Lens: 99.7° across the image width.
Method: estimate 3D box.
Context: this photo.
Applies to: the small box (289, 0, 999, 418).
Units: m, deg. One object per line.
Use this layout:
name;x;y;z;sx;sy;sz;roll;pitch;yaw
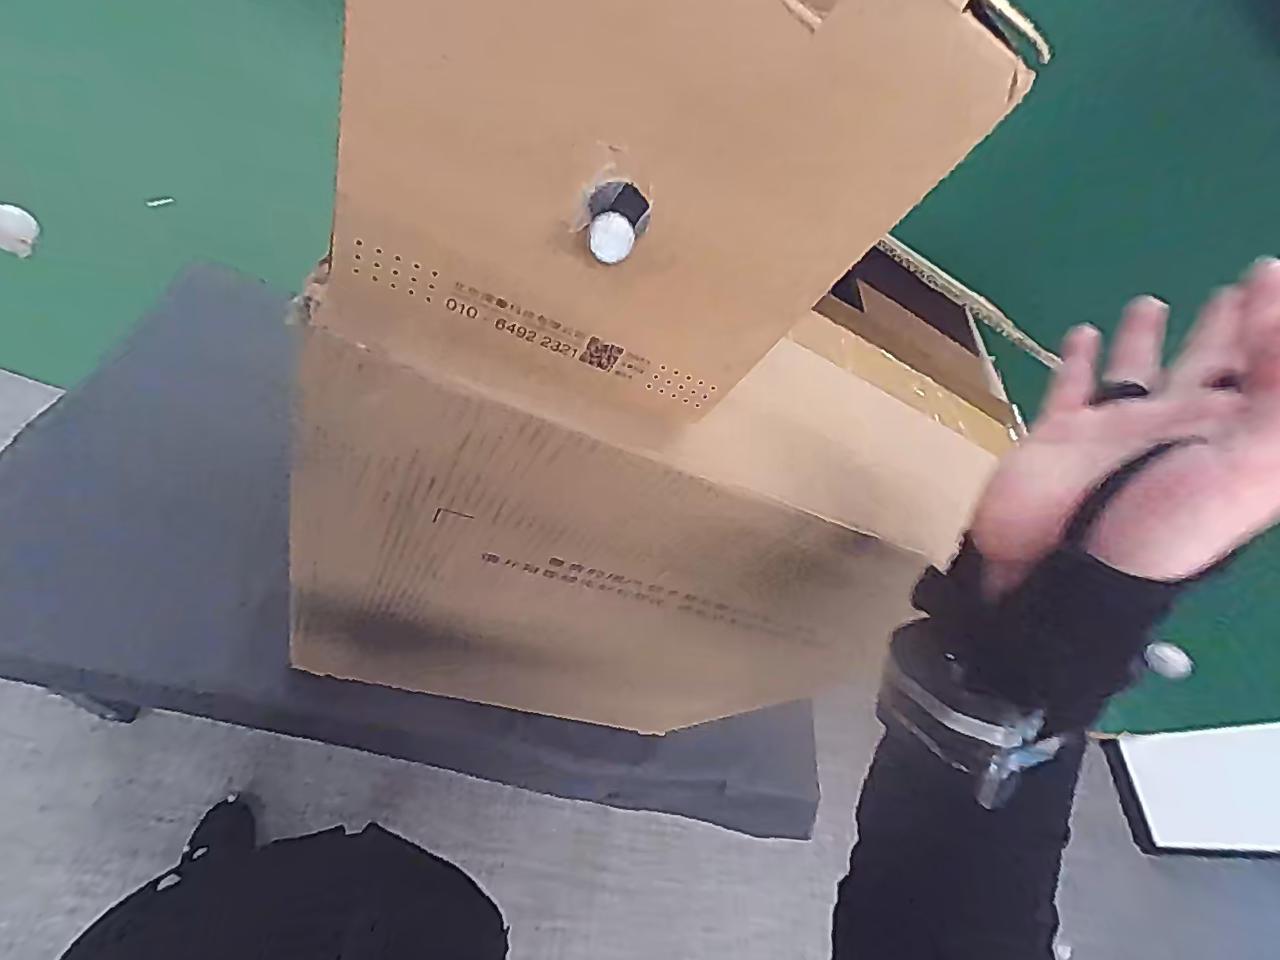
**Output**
small box;-0.015;-0.152;0.213;0.168;0.176;0.179;17;55;-21
